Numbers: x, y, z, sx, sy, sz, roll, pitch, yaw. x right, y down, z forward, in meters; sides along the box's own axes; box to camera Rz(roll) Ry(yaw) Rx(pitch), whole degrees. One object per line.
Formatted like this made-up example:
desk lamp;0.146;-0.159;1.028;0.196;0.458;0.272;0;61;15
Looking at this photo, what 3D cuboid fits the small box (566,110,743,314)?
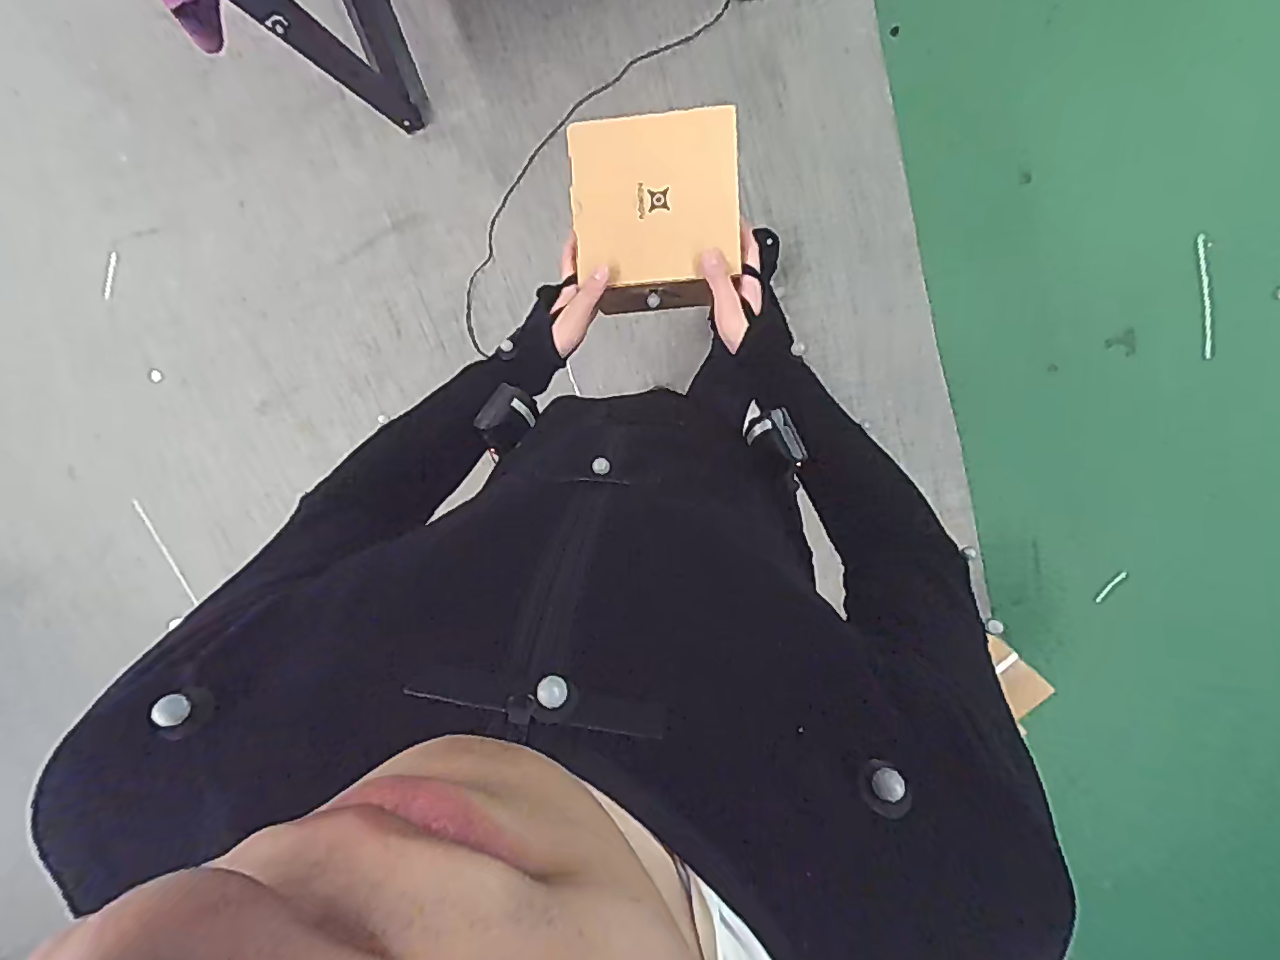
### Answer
small box;0.023;-0.295;0.634;0.179;0.176;0.168;-3;98;7
